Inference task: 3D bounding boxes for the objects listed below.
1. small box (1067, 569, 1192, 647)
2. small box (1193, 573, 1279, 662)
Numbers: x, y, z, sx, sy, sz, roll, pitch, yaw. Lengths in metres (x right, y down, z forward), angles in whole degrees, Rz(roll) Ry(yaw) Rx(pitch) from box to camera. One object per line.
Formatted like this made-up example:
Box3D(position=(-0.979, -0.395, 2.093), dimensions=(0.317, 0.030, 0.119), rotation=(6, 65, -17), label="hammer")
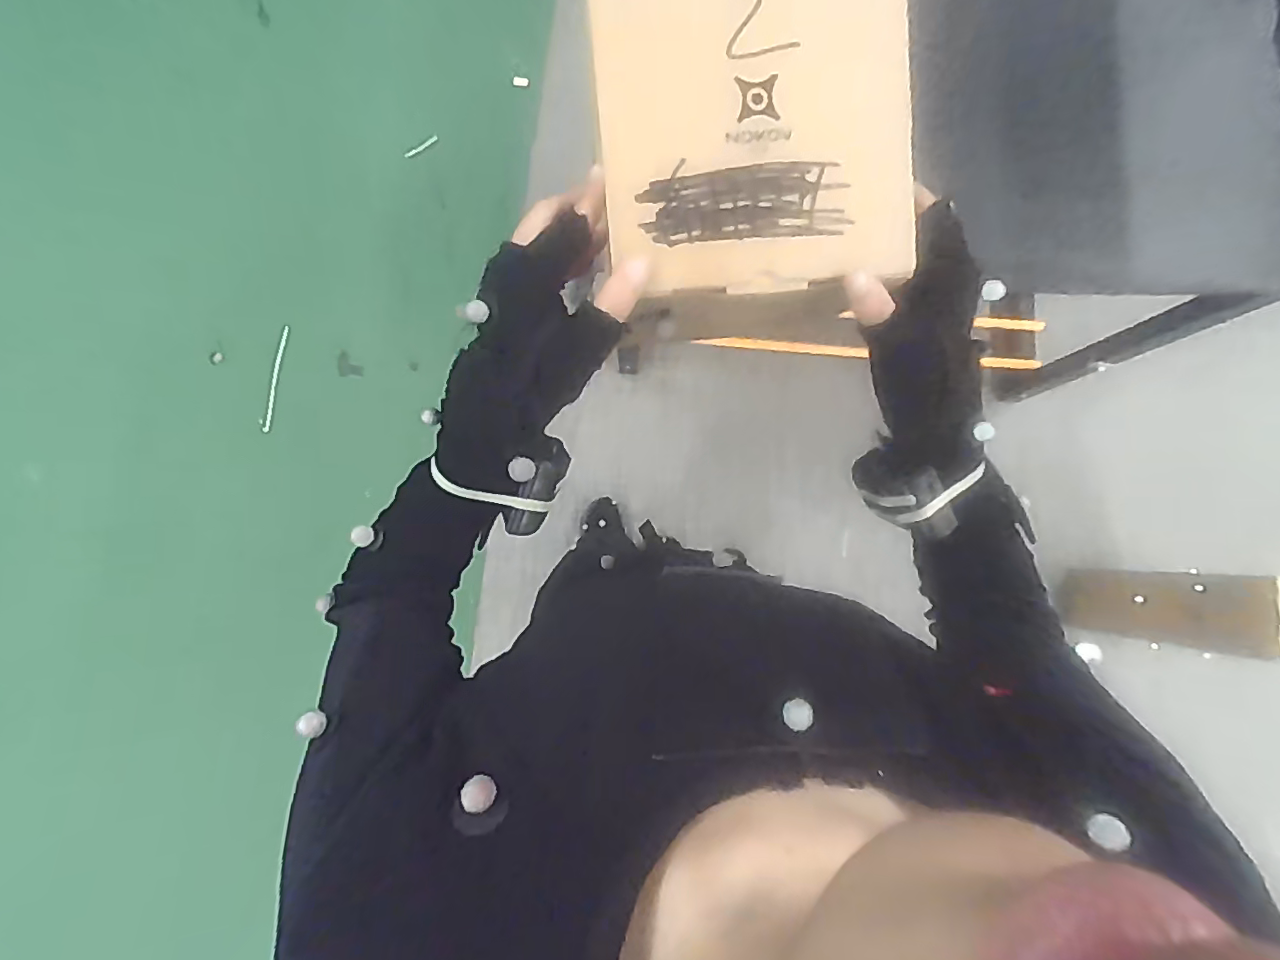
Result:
Box3D(position=(1.277, 0.328, 1.417), dimensions=(0.179, 0.176, 0.168), rotation=(10, 81, 1), label="small box")
Box3D(position=(1.283, 0.282, 1.094), dimensions=(0.179, 0.176, 0.168), rotation=(8, 83, 0), label="small box")
